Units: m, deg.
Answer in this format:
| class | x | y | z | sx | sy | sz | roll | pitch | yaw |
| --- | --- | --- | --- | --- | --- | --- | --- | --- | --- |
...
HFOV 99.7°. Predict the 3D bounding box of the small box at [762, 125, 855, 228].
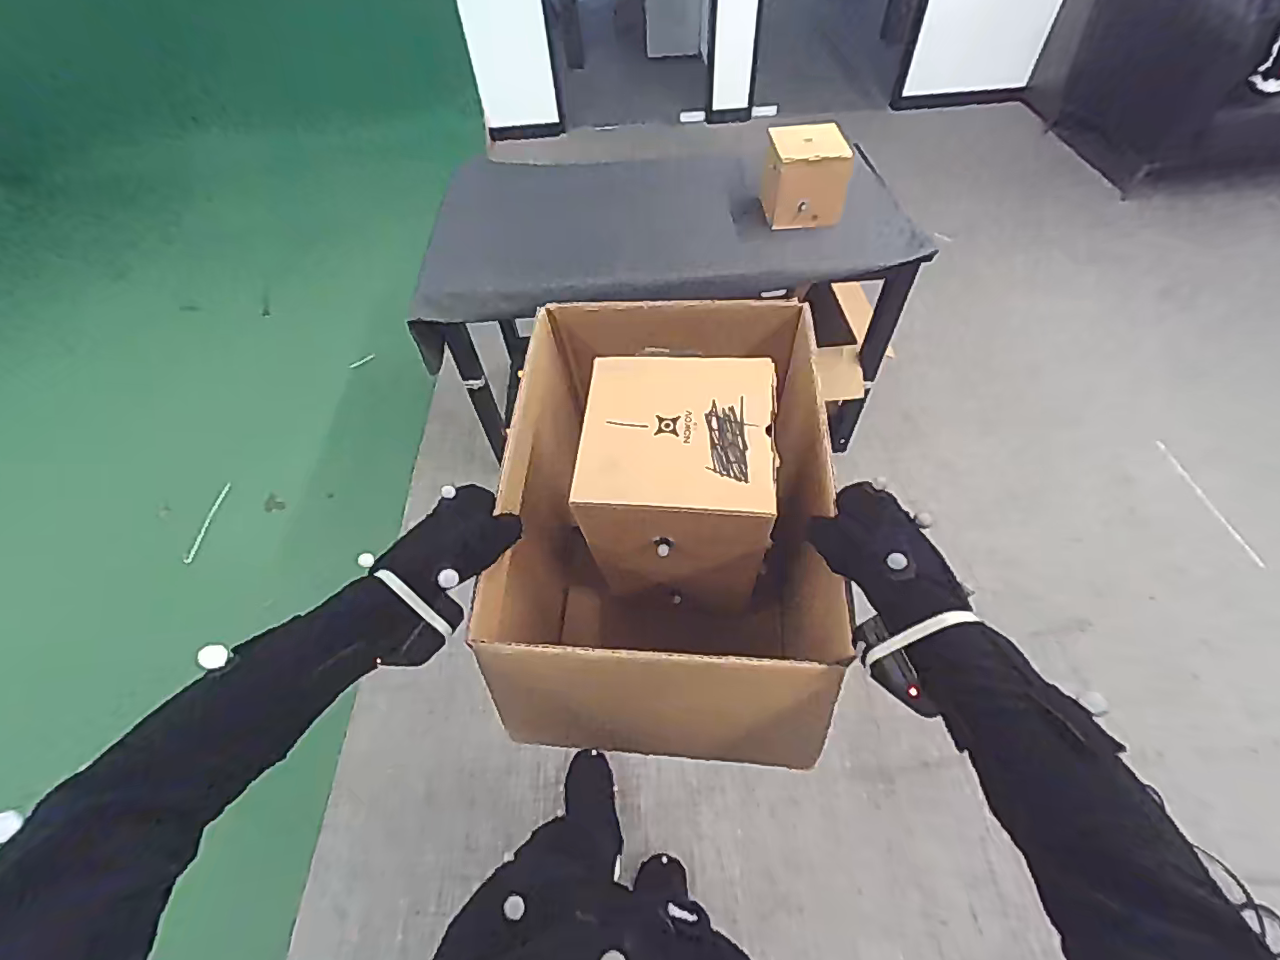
| class | x | y | z | sx | sy | sz | roll | pitch | yaw |
| --- | --- | --- | --- | --- | --- | --- | --- | --- | --- |
| small box | 0.404 | -0.744 | 1.330 | 0.168 | 0.176 | 0.179 | -3 | 54 | 1 |
